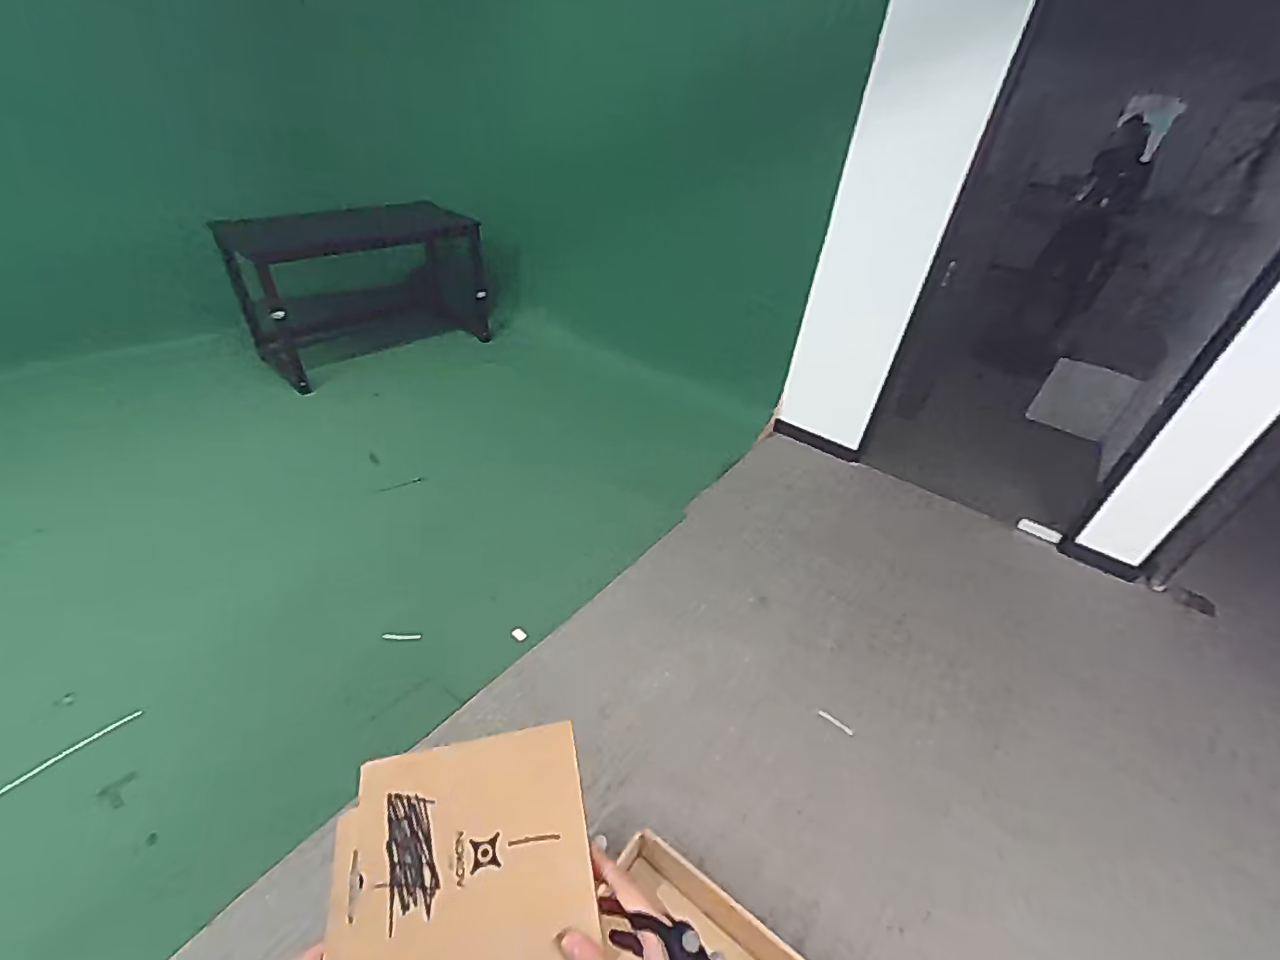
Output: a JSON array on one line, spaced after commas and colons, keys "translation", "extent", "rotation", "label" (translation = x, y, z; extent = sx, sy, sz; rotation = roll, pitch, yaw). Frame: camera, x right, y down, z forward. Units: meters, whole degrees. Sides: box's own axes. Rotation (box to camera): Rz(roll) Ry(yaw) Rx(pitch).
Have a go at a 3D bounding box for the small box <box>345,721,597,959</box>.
[{"translation": [-0.136, 0.338, 0.480], "extent": [0.179, 0.176, 0.168], "rotation": [-8, 53, -11], "label": "small box"}]
